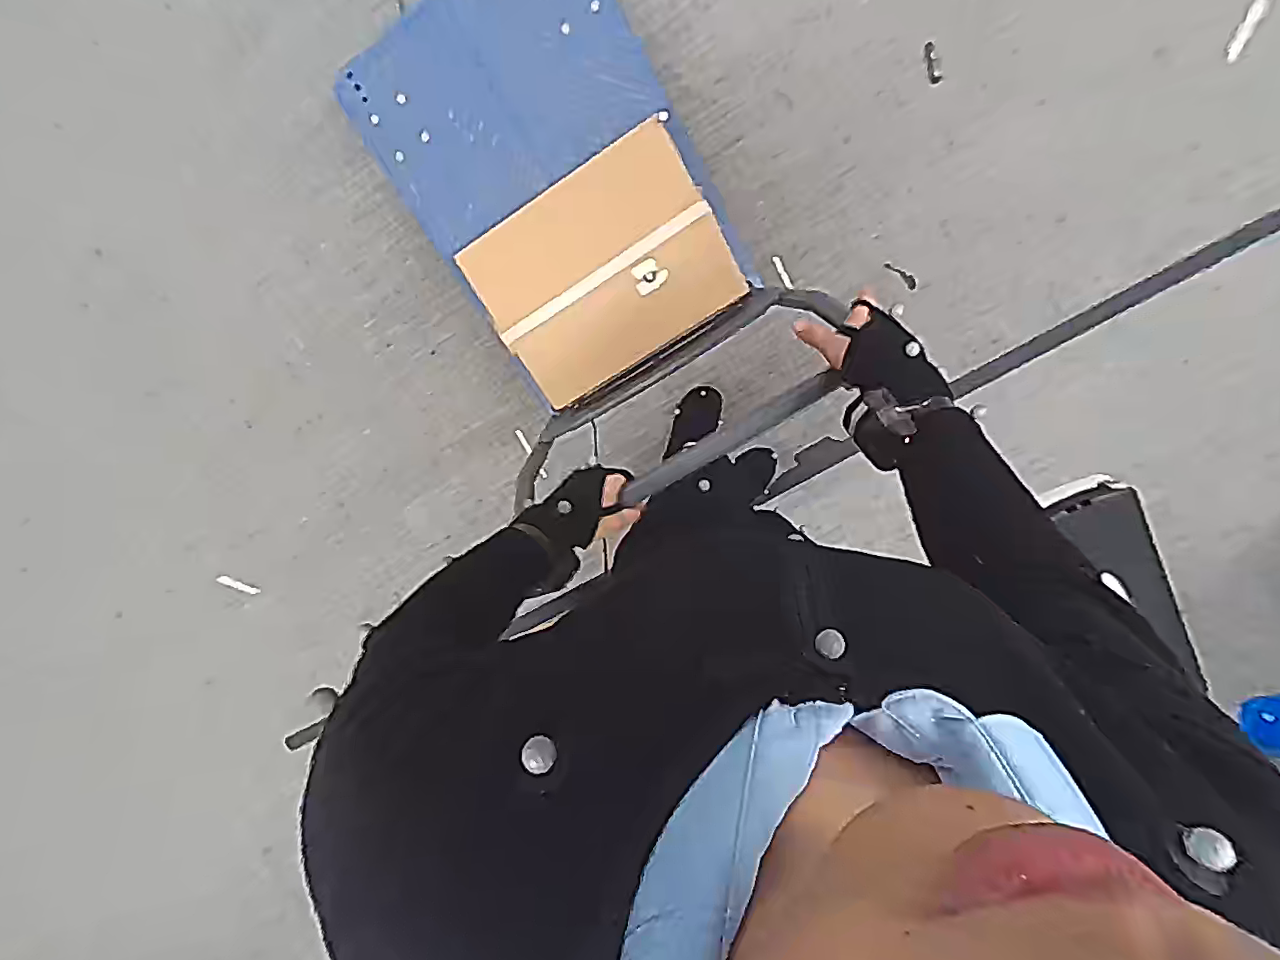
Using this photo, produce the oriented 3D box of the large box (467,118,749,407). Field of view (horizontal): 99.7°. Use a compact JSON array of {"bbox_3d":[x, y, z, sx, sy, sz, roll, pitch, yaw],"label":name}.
[{"bbox_3d":[-0.055,-0.398,1.071,0.408,0.320,0.320,-30,106,9],"label":"large box"}]
